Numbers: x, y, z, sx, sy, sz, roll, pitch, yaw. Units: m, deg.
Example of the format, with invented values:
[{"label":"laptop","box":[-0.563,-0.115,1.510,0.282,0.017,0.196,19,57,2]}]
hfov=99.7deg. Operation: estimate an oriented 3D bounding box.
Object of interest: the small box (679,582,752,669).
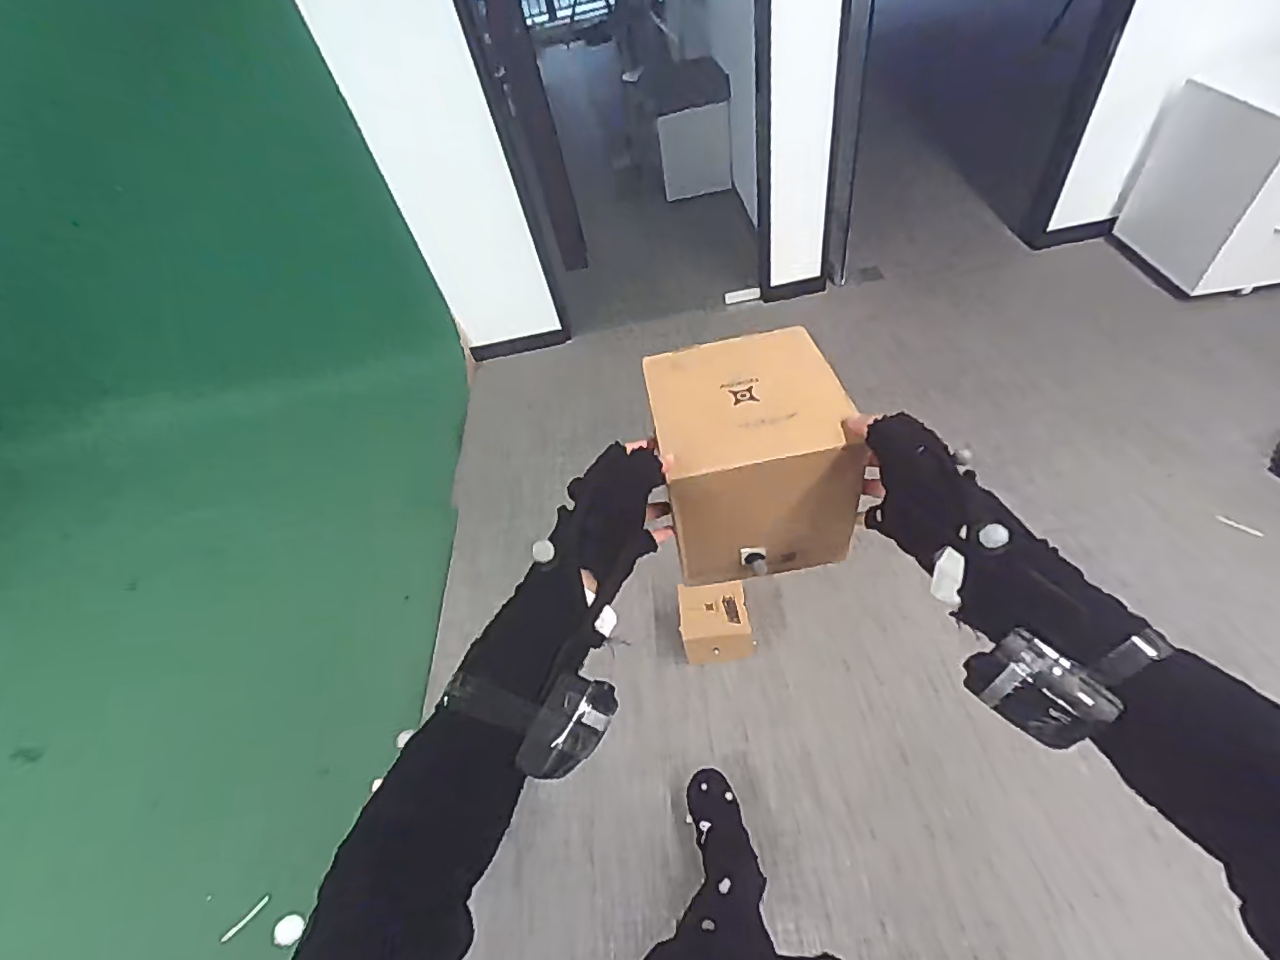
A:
[{"label":"small box","box":[0.206,0.398,1.466,0.179,0.176,0.168,-9,47,7]}]

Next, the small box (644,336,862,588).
[{"label":"small box","box":[0.103,-0.018,0.551,0.168,0.176,0.179,-11,45,2]}]
